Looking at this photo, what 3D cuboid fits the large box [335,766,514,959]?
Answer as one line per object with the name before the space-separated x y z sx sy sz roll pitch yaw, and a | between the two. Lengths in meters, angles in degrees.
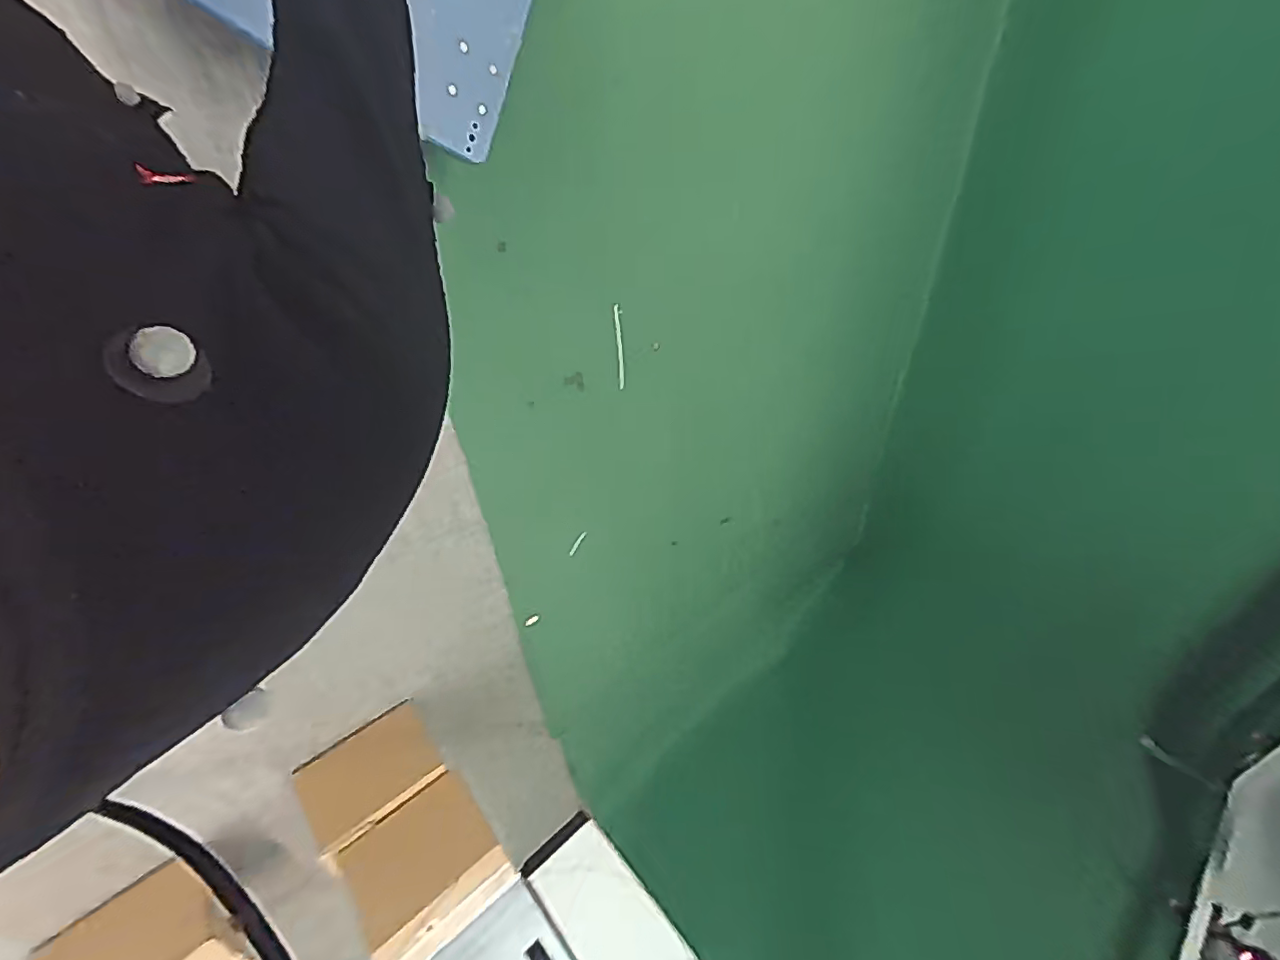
large box | -0.675 1.227 1.737 0.408 0.320 0.320 -30 137 -30
